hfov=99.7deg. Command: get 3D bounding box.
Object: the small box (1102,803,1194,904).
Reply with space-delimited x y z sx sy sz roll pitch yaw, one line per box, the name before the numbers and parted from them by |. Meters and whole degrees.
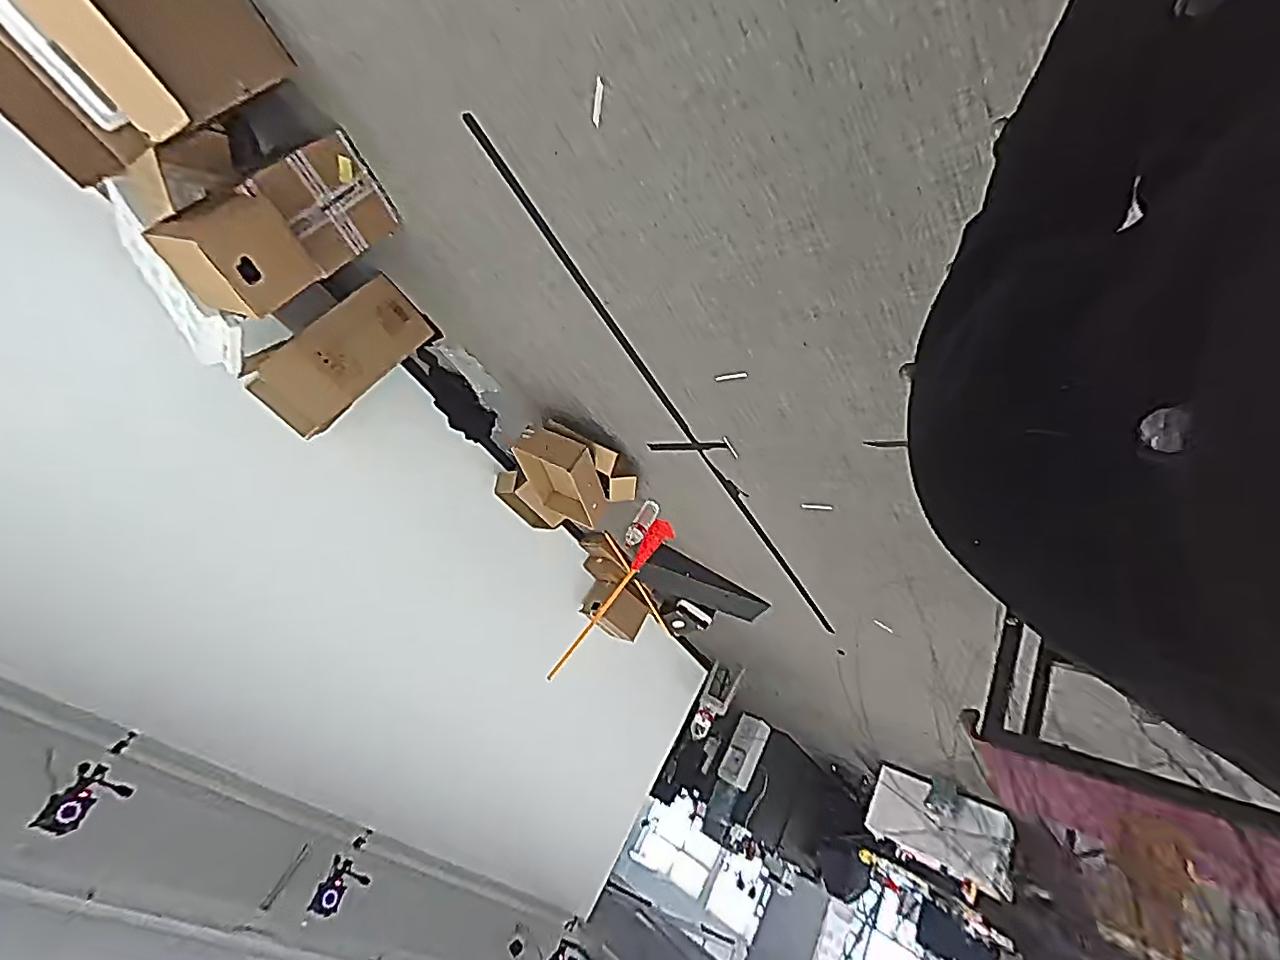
small box | 1.474 1.070 1.567 0.179 0.176 0.168 0 140 48
